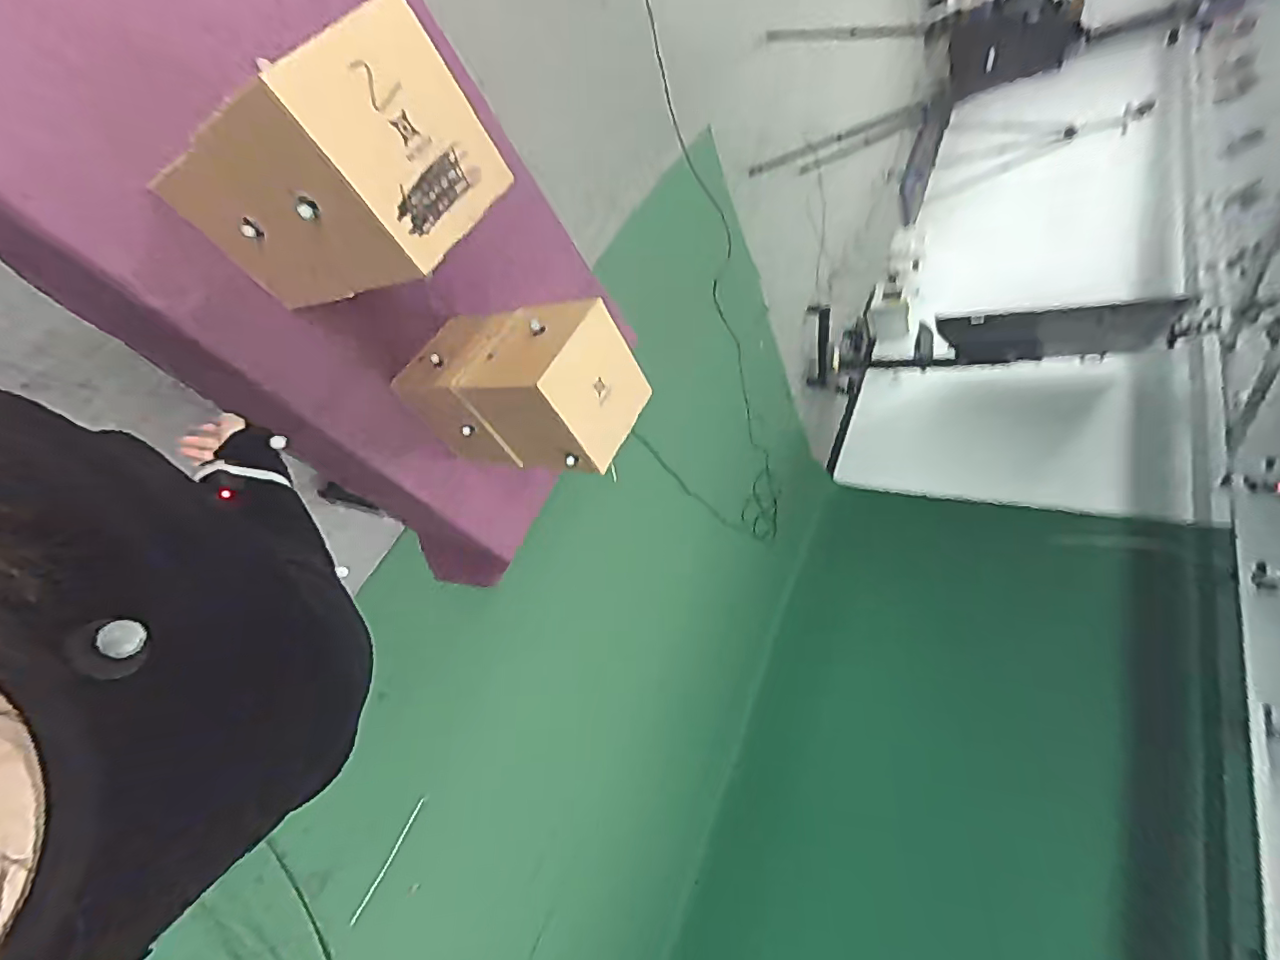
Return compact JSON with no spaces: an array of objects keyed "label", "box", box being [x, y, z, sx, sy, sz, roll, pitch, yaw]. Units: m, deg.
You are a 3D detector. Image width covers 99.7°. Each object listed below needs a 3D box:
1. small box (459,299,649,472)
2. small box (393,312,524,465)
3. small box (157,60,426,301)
[{"label":"small box","box":[-0.121,-0.132,0.777,0.168,0.176,0.179,-61,139,-26]},{"label":"small box","box":[-0.254,-0.144,0.871,0.168,0.176,0.179,-59,138,-28]},{"label":"small box","box":[-0.403,-0.331,0.633,0.179,0.176,0.168,52,56,-45]}]
